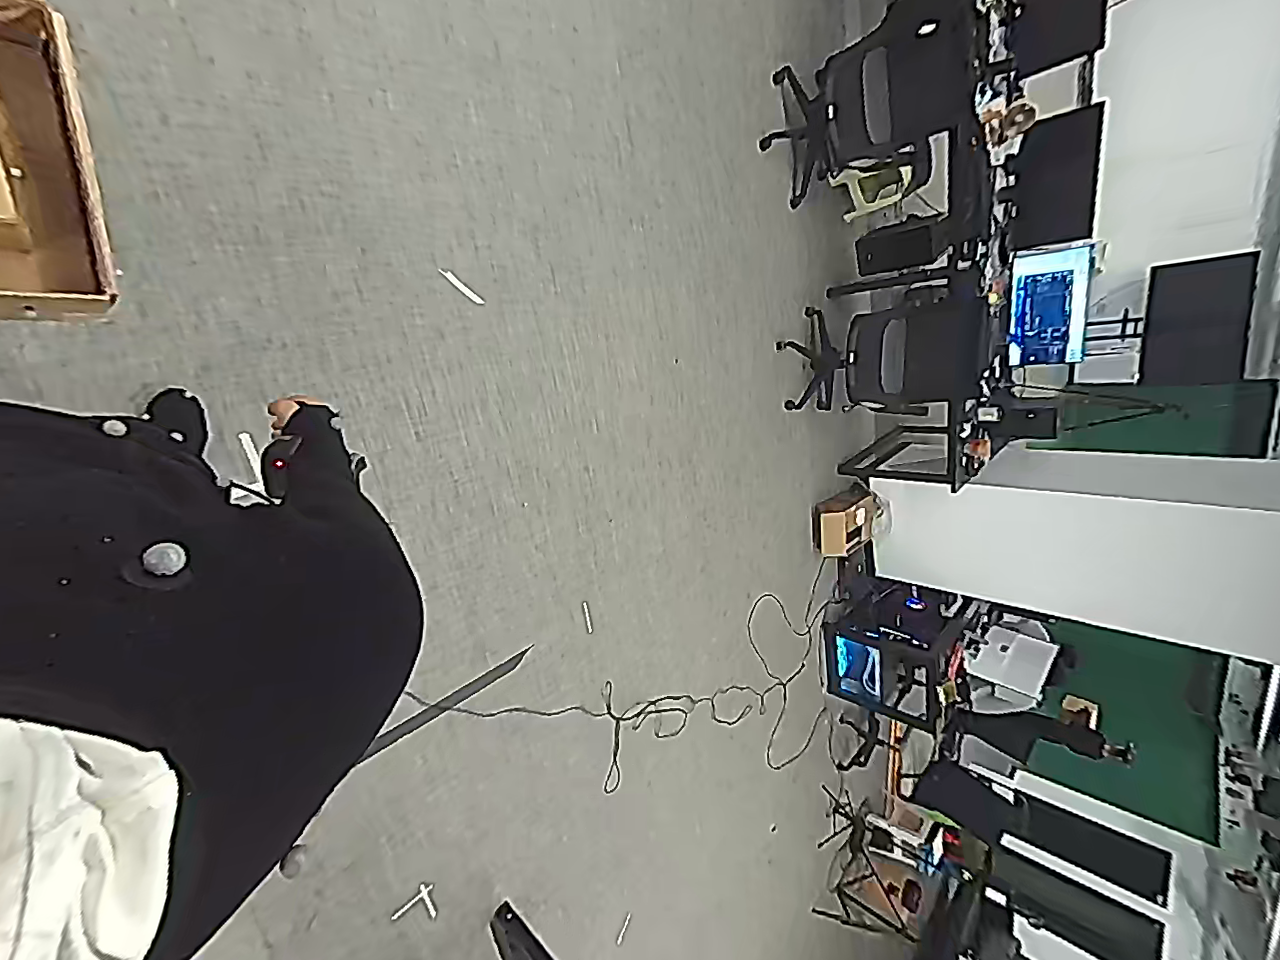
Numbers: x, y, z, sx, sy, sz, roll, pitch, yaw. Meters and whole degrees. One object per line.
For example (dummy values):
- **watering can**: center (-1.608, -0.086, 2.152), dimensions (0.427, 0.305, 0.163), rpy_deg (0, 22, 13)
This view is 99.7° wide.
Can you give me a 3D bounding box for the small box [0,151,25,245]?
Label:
- **small box**: center (-0.931, -0.409, 0.685), dimensions (0.168, 0.176, 0.179), rpy_deg (-16, 105, -42)
